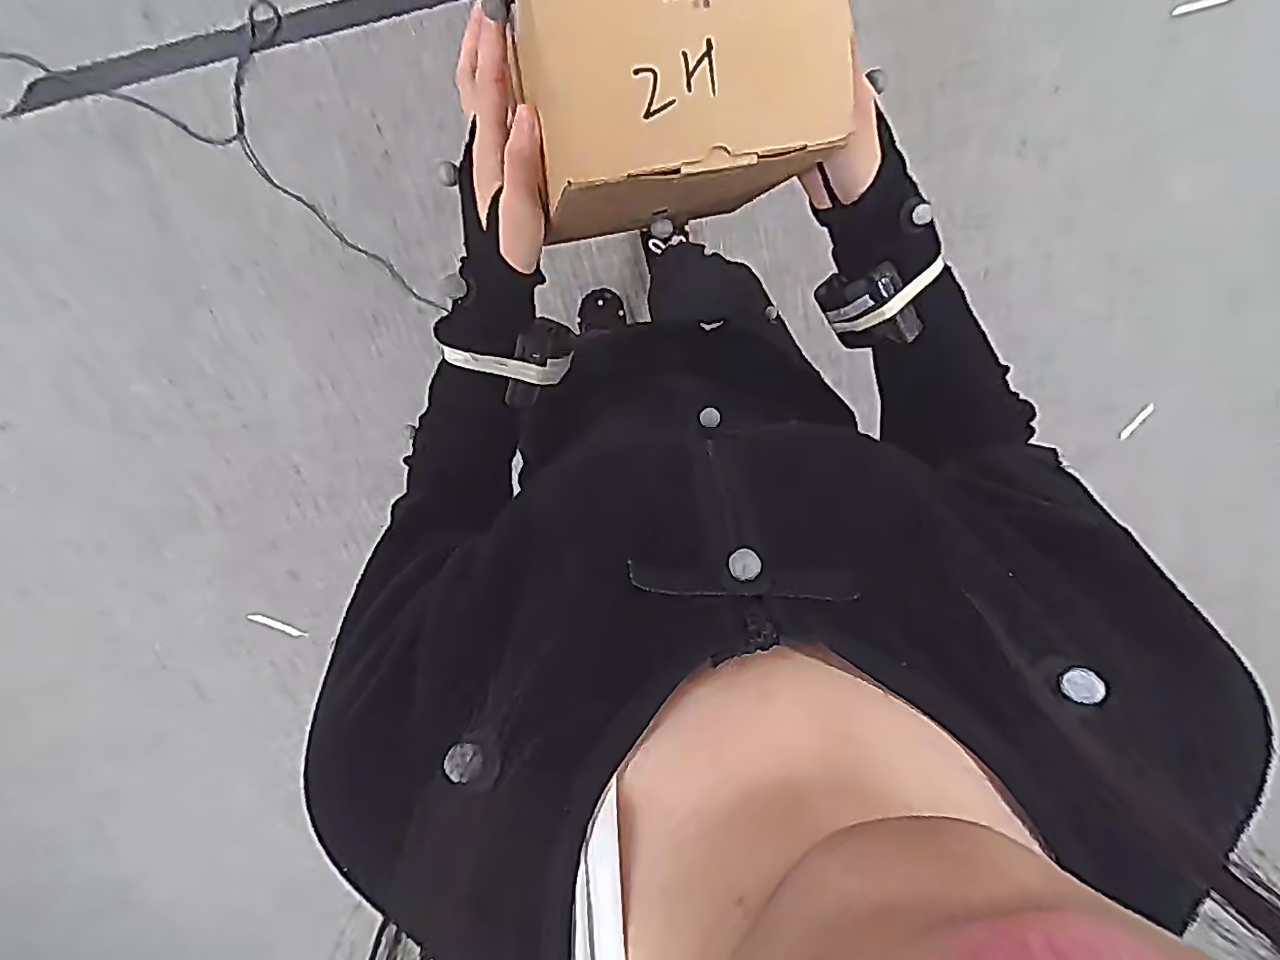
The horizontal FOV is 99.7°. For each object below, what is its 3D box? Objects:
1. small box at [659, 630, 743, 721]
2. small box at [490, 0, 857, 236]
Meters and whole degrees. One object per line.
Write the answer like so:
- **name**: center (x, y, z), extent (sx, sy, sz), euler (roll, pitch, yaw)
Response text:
- **small box**: center (0.156, 0.488, 1.304), extent (0.179, 0.176, 0.168), euler (-17, 109, 1)
- **small box**: center (0.006, -0.270, 0.334), extent (0.168, 0.176, 0.179), euler (-15, 107, -11)
